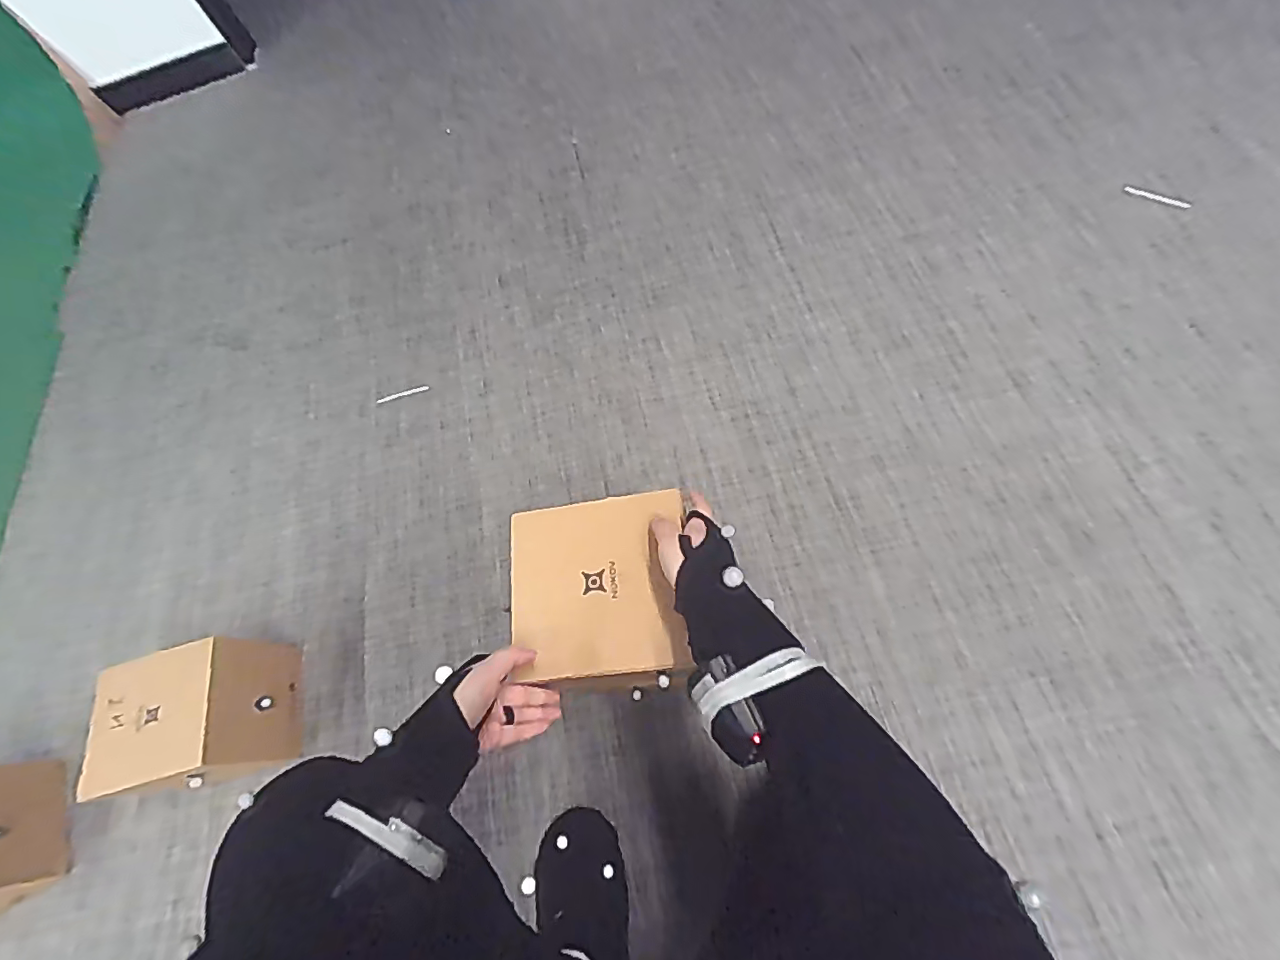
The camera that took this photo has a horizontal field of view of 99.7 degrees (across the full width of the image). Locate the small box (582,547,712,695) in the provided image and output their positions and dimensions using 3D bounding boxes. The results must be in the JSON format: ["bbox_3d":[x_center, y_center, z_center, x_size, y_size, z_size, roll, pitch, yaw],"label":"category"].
[{"bbox_3d":[0.000,0.197,0.728,0.179,0.176,0.168,-6,66,8],"label":"small box"}]

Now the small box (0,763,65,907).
[{"bbox_3d":[-0.980,0.530,0.768,0.168,0.176,0.179,-31,65,-4],"label":"small box"}]

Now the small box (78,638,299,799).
[{"bbox_3d":[-0.630,0.341,0.782,0.179,0.176,0.168,-17,64,3],"label":"small box"}]

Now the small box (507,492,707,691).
[{"bbox_3d":[-0.028,0.129,0.581,0.179,0.176,0.168,-8,65,6],"label":"small box"}]
